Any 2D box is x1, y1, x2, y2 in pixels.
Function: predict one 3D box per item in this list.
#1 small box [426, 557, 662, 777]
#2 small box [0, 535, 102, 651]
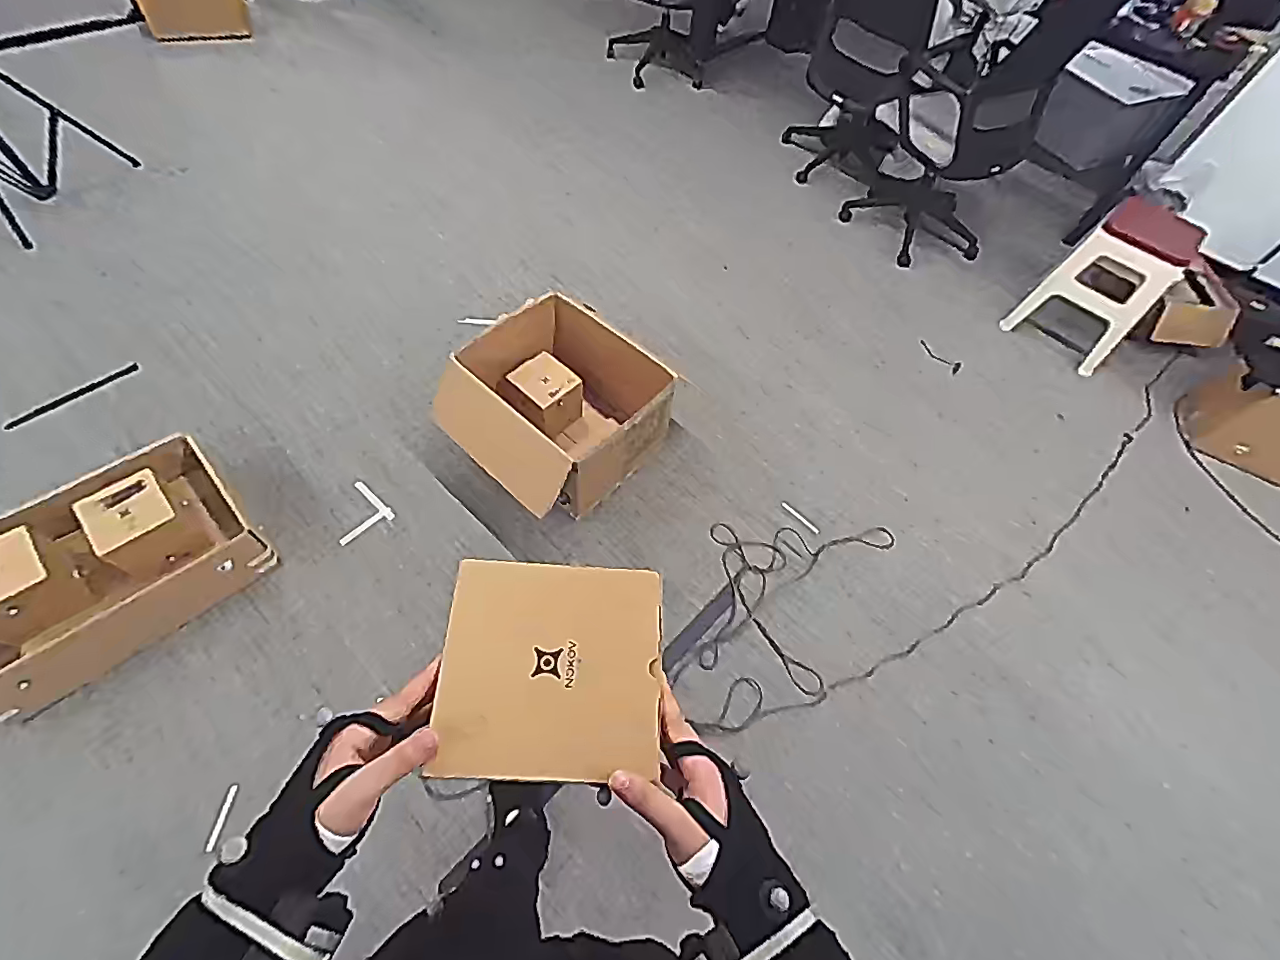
[{"bbox_3d":[-0.077,0.183,0.511,0.179,0.176,0.168,5,61,-5],"label":"small box"},{"bbox_3d":[-1.425,0.266,1.252,0.179,0.176,0.168,-35,70,-26],"label":"small box"}]
